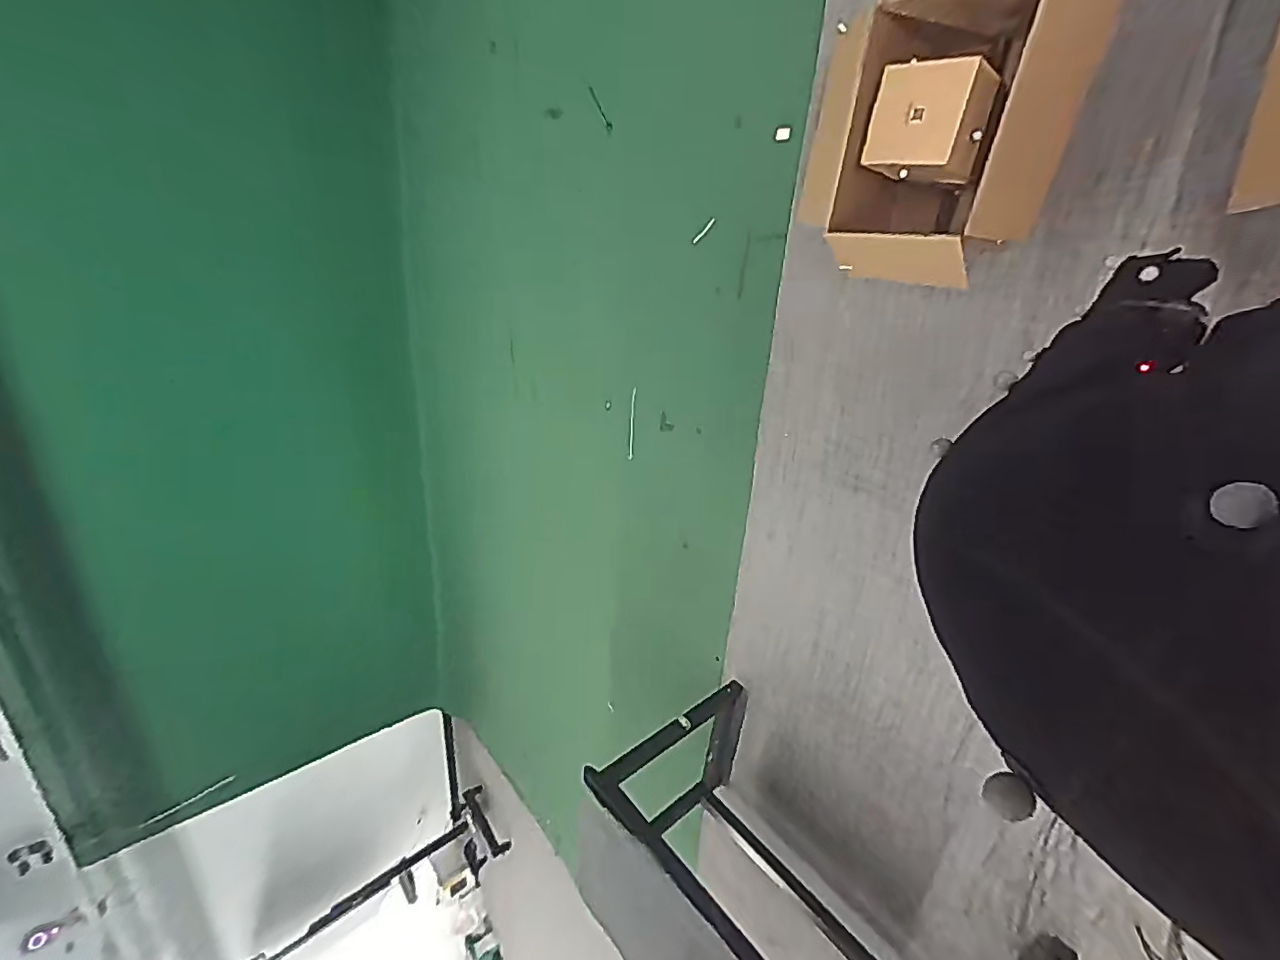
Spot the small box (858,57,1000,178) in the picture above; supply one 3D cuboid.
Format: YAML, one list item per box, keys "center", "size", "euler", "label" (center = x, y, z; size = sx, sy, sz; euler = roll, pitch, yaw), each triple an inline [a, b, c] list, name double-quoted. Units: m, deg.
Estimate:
- center: [0.571, -0.703, 1.066]
  size: [0.179, 0.176, 0.168]
  euler: [29, 121, 40]
  label: "small box"
